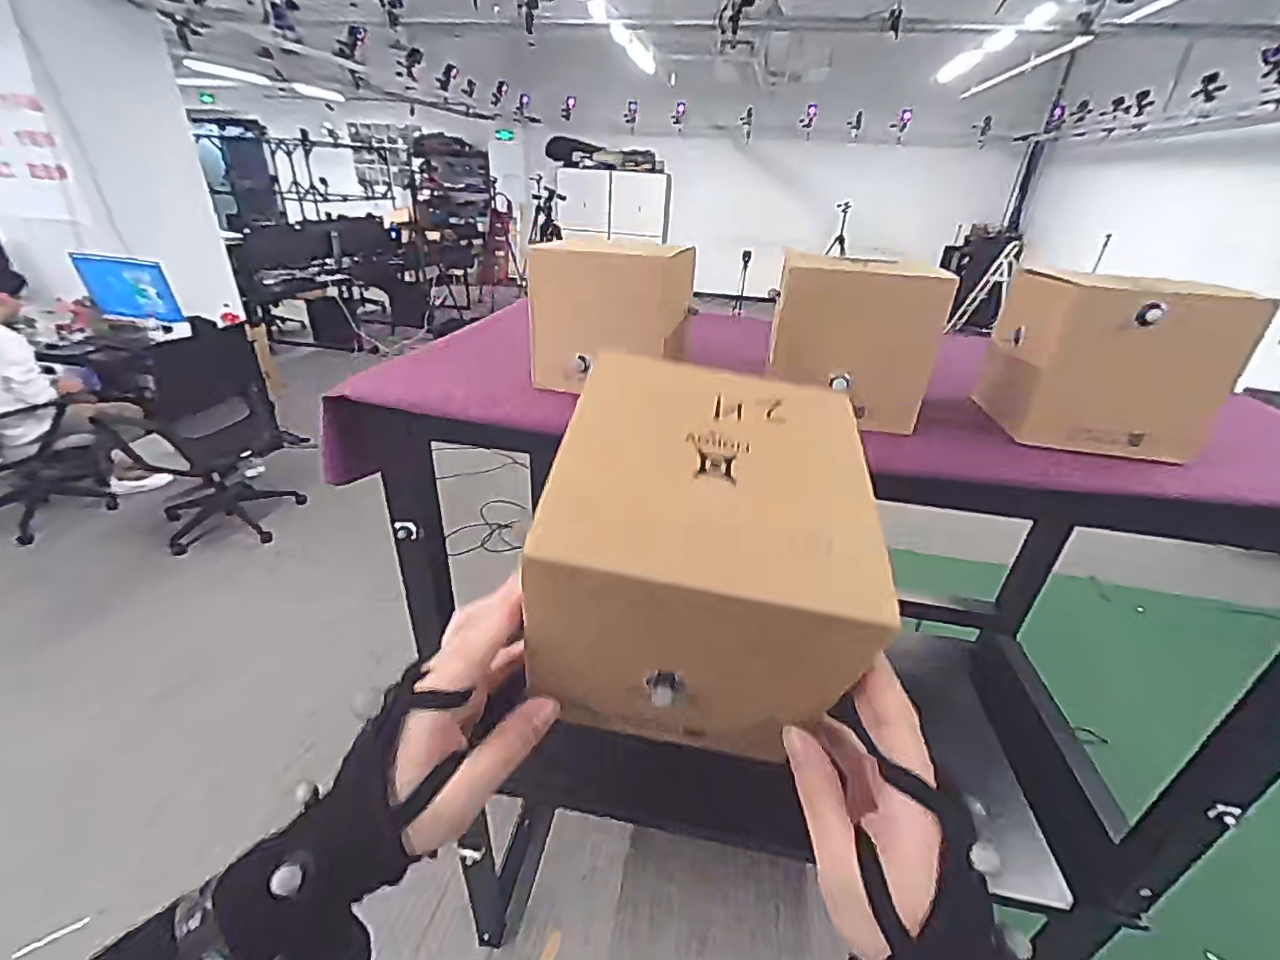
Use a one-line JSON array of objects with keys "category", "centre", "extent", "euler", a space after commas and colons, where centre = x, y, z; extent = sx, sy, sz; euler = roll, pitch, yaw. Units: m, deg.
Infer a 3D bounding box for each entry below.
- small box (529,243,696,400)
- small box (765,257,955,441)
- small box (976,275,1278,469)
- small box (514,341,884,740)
[{"category": "small box", "centre": [-0.030, -0.201, 0.689], "extent": [0.168, 0.176, 0.179], "euler": [9, 28, 12]}, {"category": "small box", "centre": [0.241, -0.162, 0.644], "extent": [0.168, 0.176, 0.179], "euler": [9, 29, 10]}, {"category": "small box", "centre": [0.510, -0.129, 0.608], "extent": [0.168, 0.176, 0.179], "euler": [8, 26, 11]}, {"category": "small box", "centre": [0.030, 0.040, 0.347], "extent": [0.168, 0.176, 0.179], "euler": [11, 45, 2]}]
